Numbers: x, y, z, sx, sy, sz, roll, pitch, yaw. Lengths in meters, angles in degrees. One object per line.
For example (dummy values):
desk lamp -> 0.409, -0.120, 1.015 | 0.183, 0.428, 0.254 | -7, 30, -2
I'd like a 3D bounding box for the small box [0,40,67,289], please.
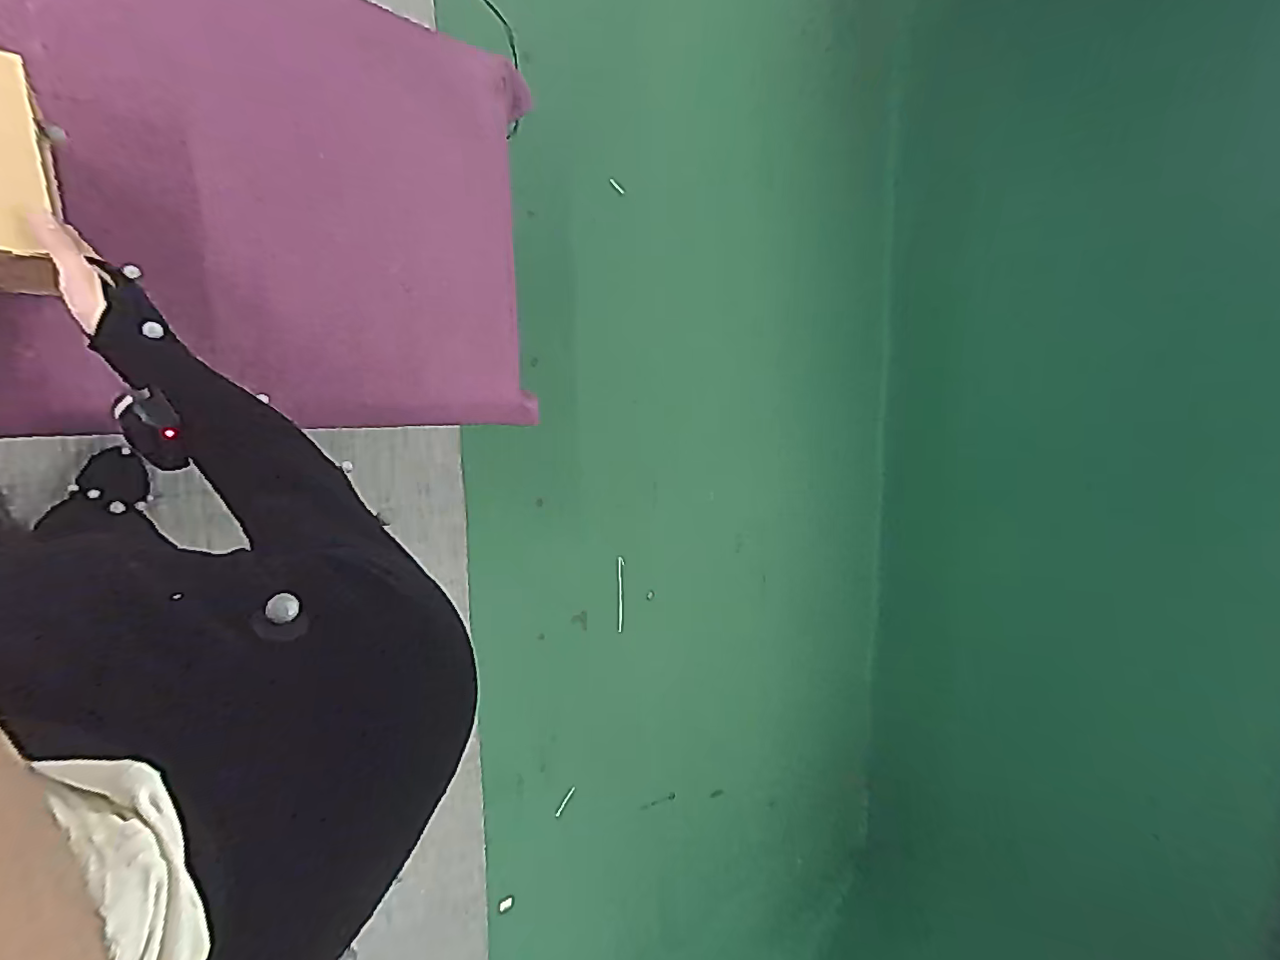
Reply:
small box -> -0.648, -0.284, 0.480 | 0.168, 0.176, 0.179 | -10, 100, -41
